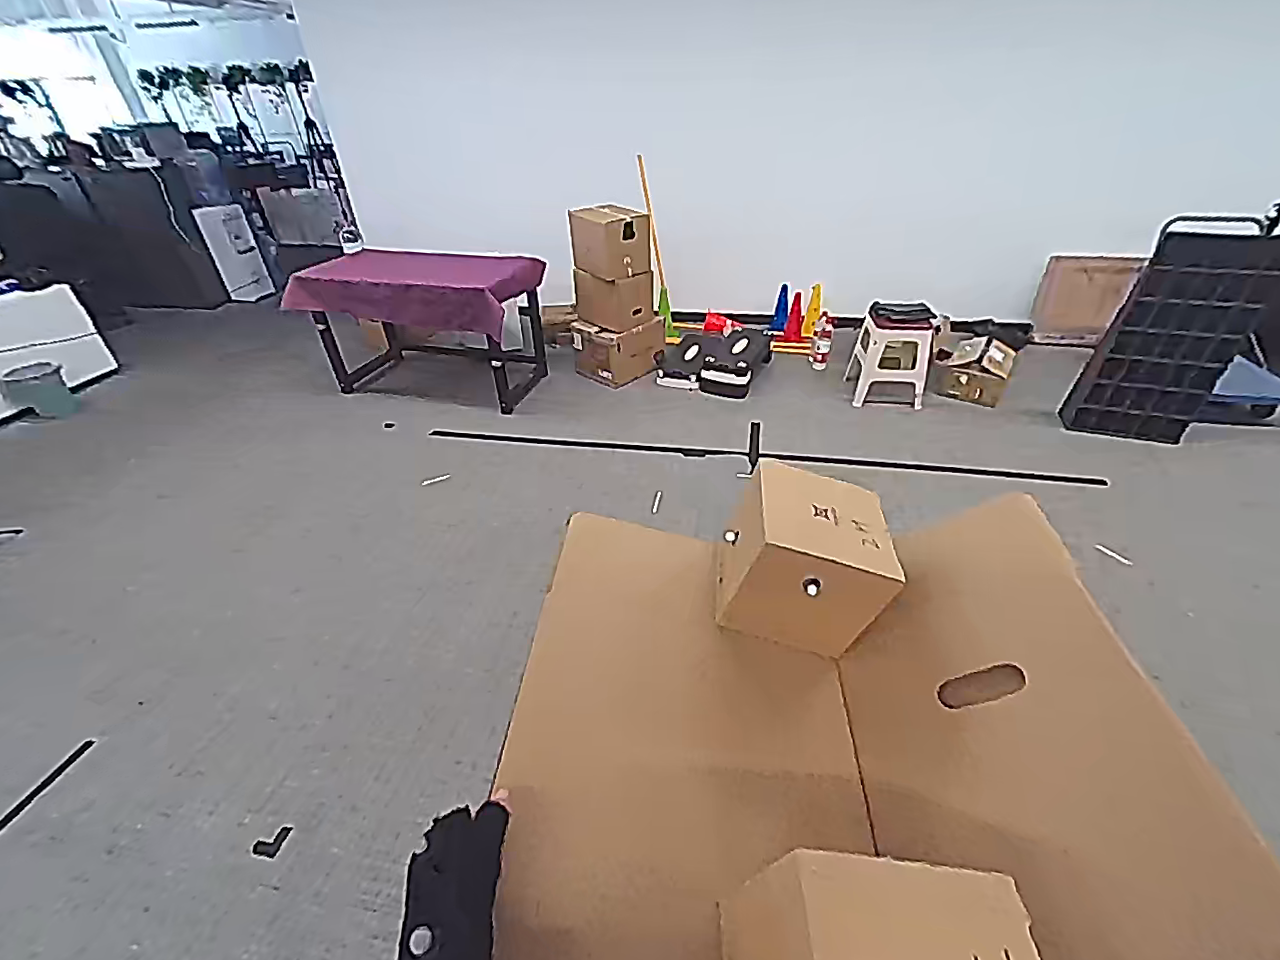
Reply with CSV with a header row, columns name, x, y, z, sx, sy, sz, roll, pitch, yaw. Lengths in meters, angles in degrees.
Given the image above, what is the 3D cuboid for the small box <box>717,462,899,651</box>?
name,x,y,z,sx,sy,sz,roll,pitch,yaw
small box,0.212,0.107,0.735,0.179,0.176,0.168,17,40,-3
